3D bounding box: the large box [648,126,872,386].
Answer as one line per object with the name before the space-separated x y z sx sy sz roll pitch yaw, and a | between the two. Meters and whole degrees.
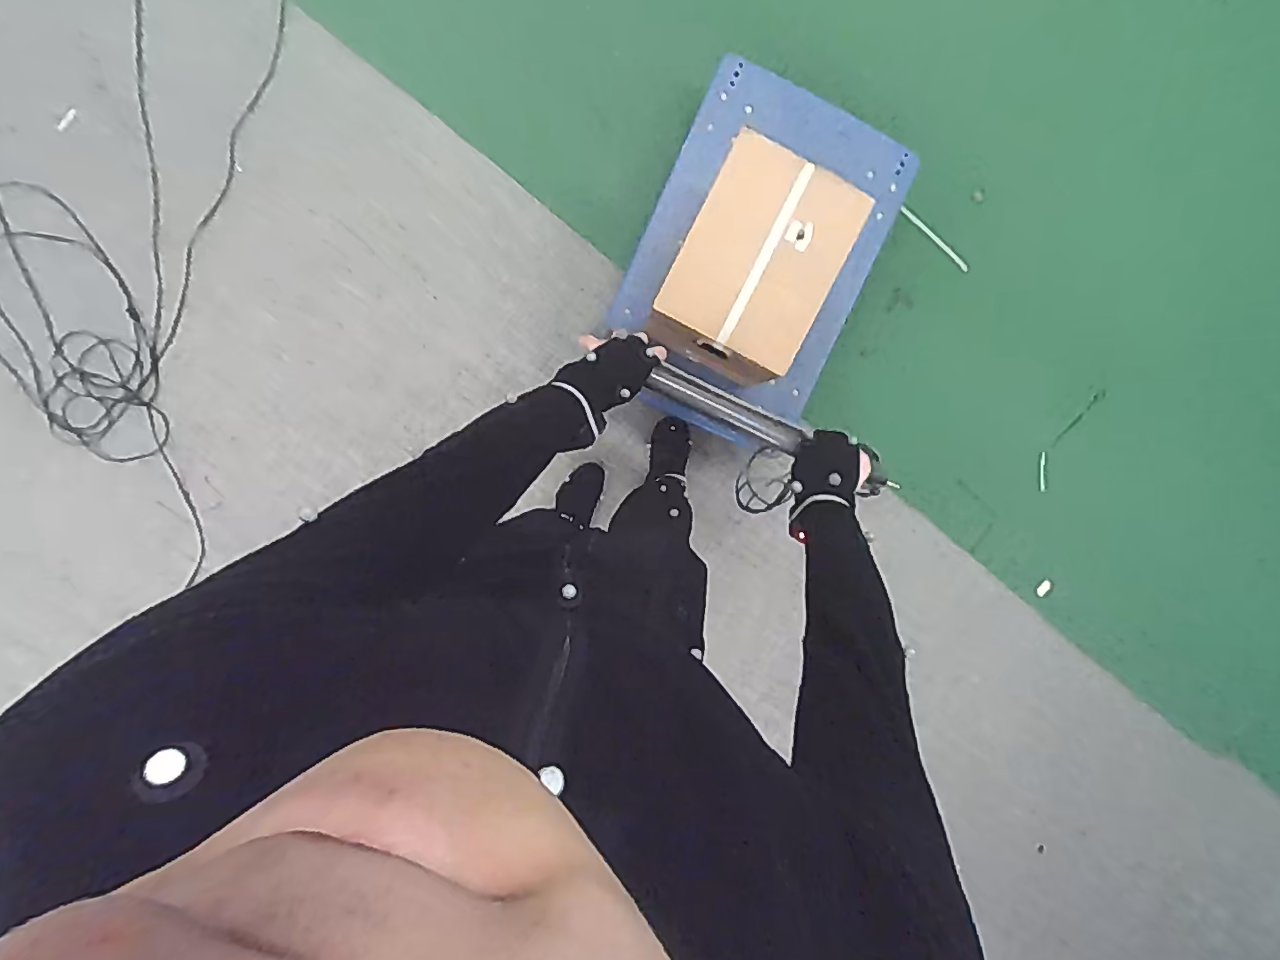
large box | 0.243 -0.470 1.239 0.320 0.320 0.408 27 93 -6
